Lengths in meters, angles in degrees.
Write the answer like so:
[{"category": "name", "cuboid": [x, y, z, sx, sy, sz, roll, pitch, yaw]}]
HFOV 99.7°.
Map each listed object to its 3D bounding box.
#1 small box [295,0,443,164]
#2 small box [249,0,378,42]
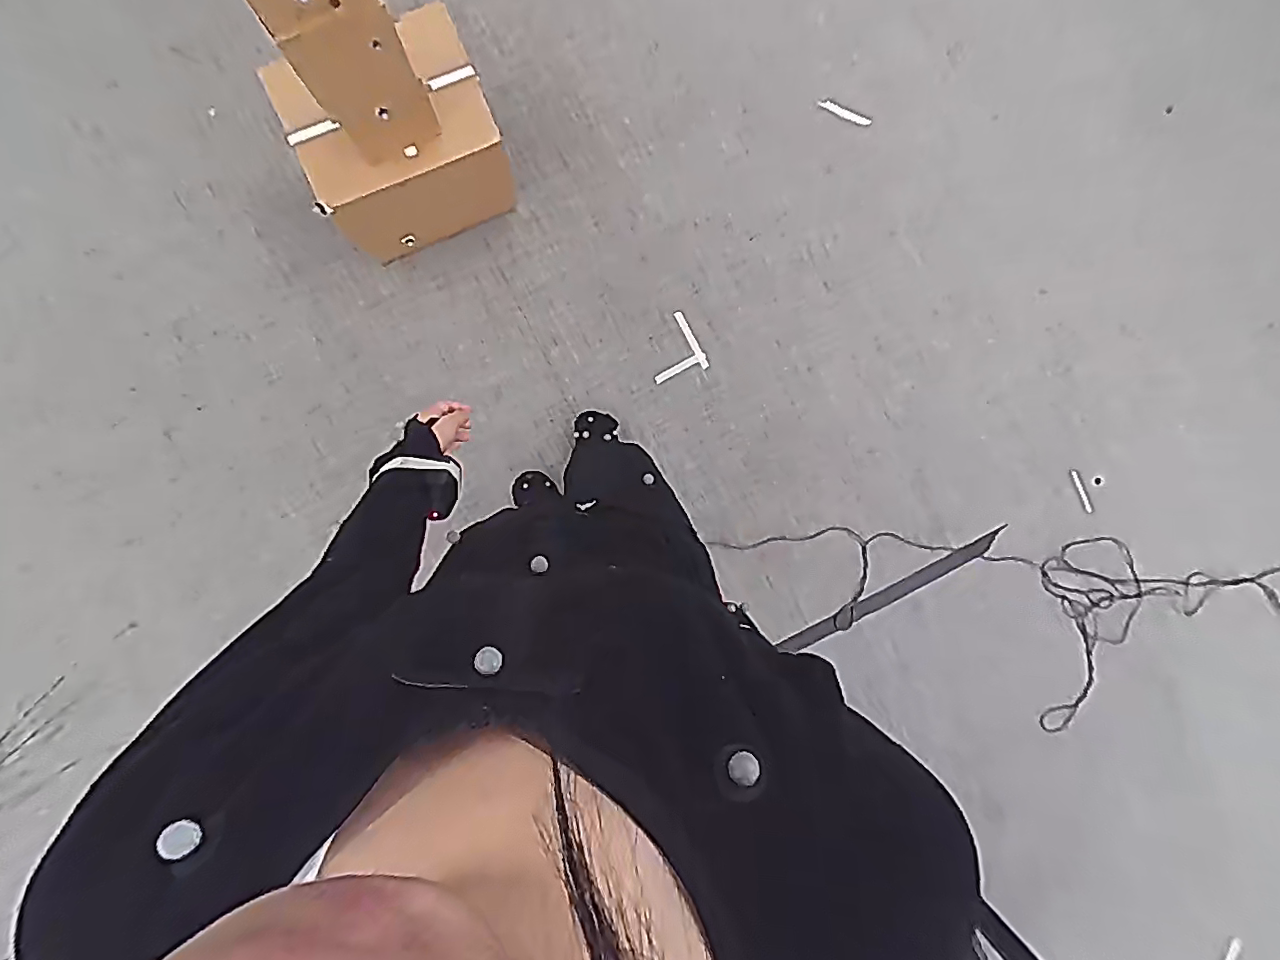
[{"category": "small box", "cuboid": [-0.513, -0.756, 1.048, 0.179, 0.176, 0.168, -27, 95, -6]}, {"category": "small box", "cuboid": [-0.490, -0.753, 0.722, 0.168, 0.176, 0.179, -27, 95, -5]}]
